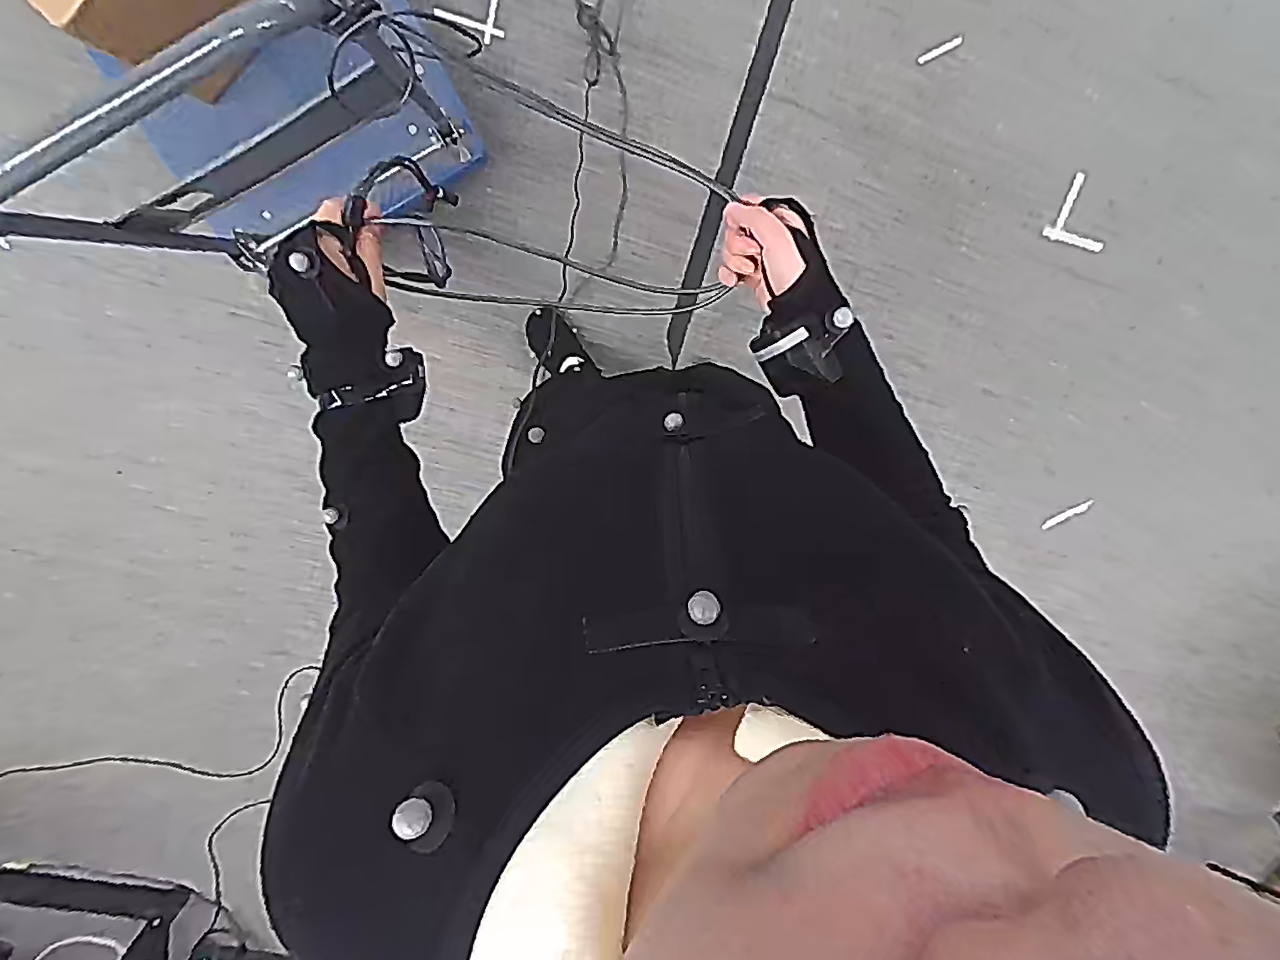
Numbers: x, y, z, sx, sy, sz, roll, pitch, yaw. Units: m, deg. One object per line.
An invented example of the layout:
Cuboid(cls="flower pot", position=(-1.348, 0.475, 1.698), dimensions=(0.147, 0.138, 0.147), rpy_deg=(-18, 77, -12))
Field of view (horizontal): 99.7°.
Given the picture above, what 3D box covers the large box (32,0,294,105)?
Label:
Cuboid(cls="large box", position=(-0.778, -0.907, 0.833), dimensions=(0.408, 0.320, 0.320), rpy_deg=(-42, 107, 9))
